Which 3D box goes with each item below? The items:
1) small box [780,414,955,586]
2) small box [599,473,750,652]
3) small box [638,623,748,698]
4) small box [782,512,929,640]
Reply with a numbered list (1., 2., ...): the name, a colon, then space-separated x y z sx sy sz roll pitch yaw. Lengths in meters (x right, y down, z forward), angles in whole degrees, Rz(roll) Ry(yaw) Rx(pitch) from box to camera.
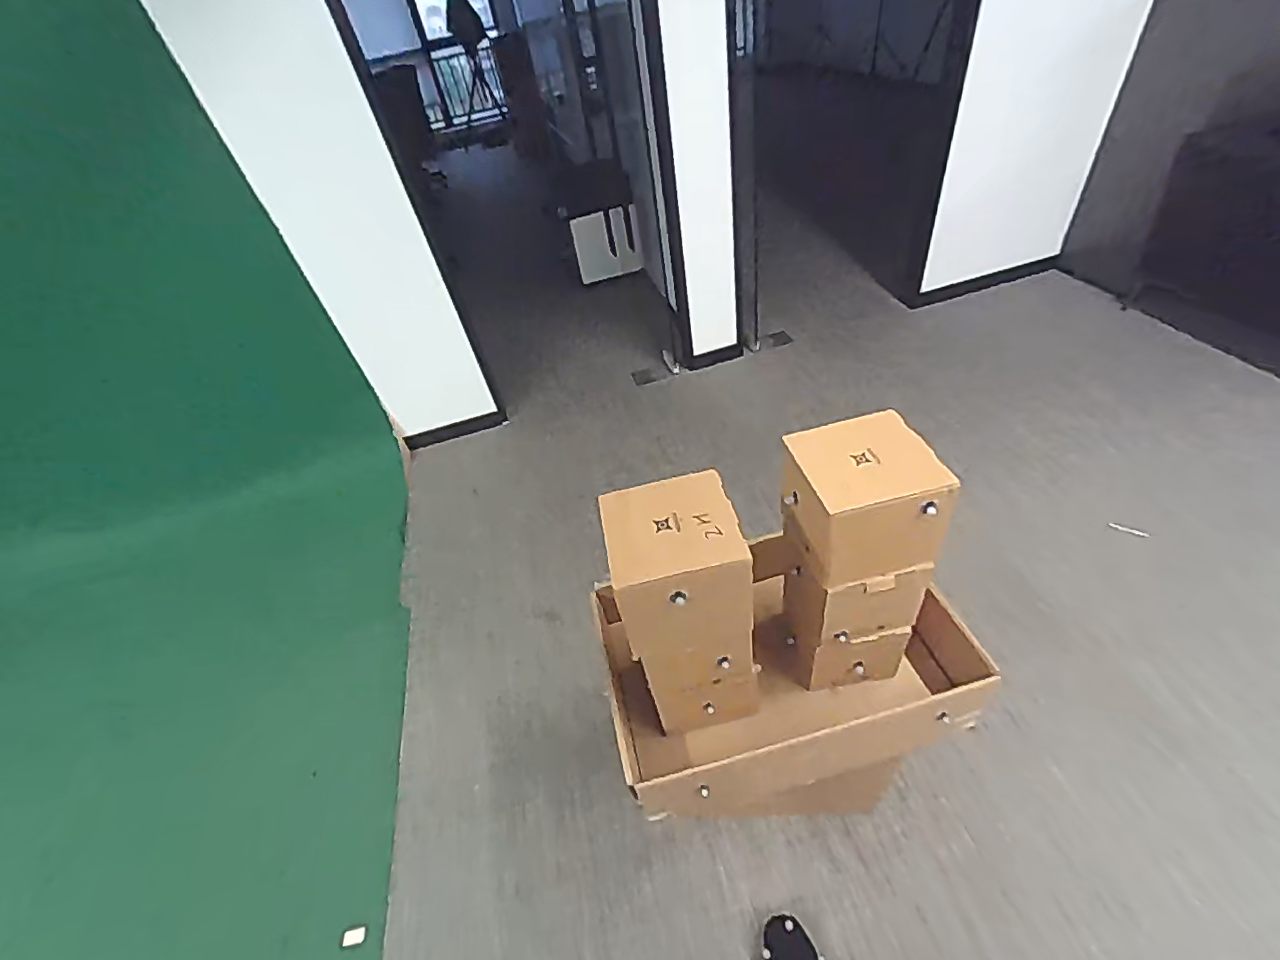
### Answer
1. small box: 0.317 0.033 0.795 0.179 0.176 0.168 -13 43 -2
2. small box: 0.049 0.120 0.762 0.179 0.176 0.168 -12 44 -1
3. small box: 0.073 0.232 0.880 0.168 0.176 0.179 -14 43 -3
4. small box: 0.347 0.148 0.906 0.168 0.176 0.179 -13 43 -1
